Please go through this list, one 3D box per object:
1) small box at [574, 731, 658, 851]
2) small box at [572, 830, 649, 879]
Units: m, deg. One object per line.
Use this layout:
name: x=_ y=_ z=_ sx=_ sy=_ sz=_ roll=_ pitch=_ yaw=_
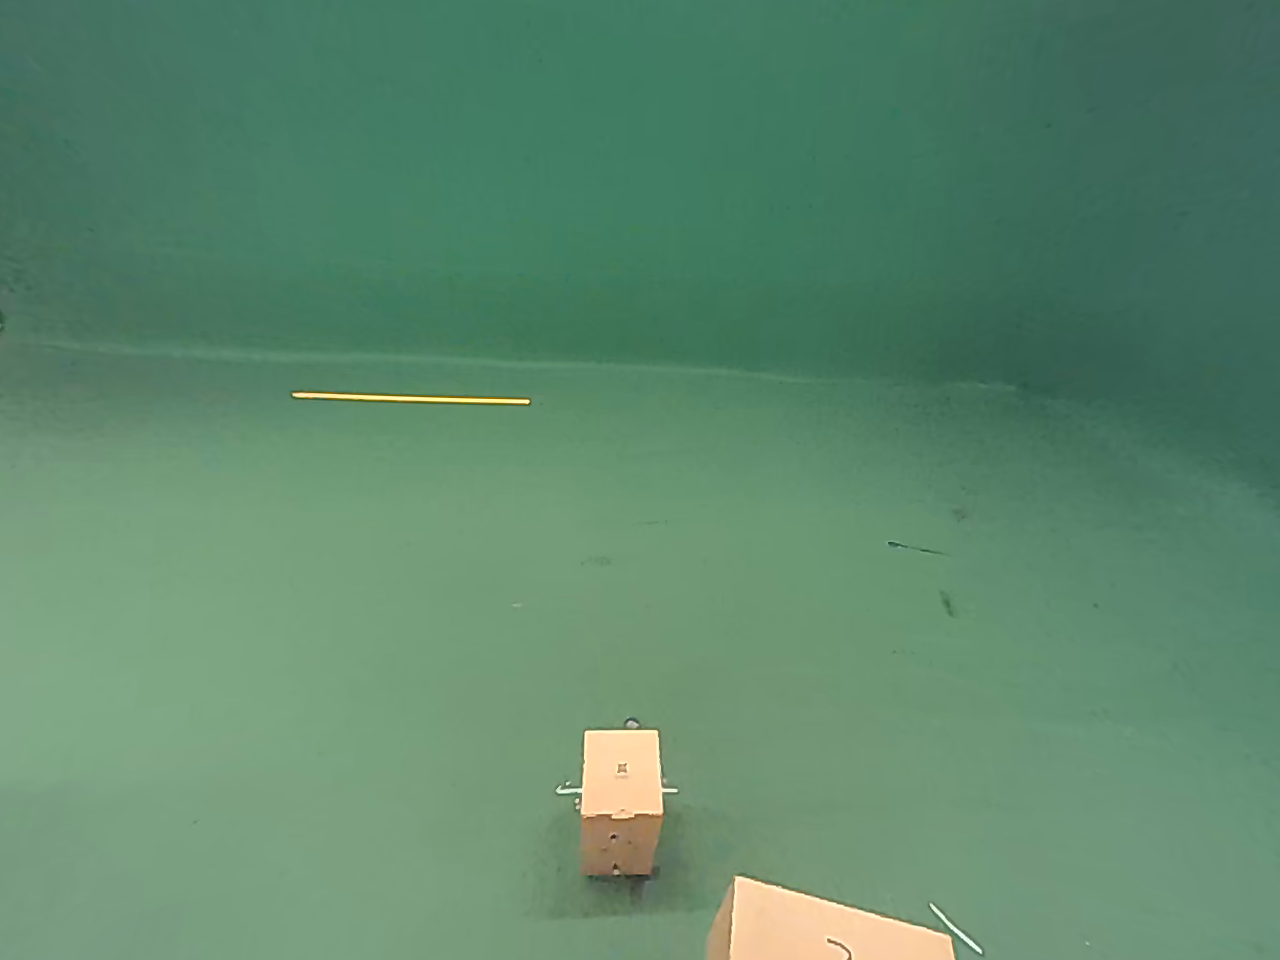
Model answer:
small box: x=-0.056 y=0.673 z=1.174 sx=0.168 sy=0.176 sz=0.179 roll=2 pitch=37 yaw=-5
small box: x=-0.070 y=0.804 z=1.270 sx=0.168 sy=0.176 sz=0.179 roll=2 pitch=37 yaw=-4
